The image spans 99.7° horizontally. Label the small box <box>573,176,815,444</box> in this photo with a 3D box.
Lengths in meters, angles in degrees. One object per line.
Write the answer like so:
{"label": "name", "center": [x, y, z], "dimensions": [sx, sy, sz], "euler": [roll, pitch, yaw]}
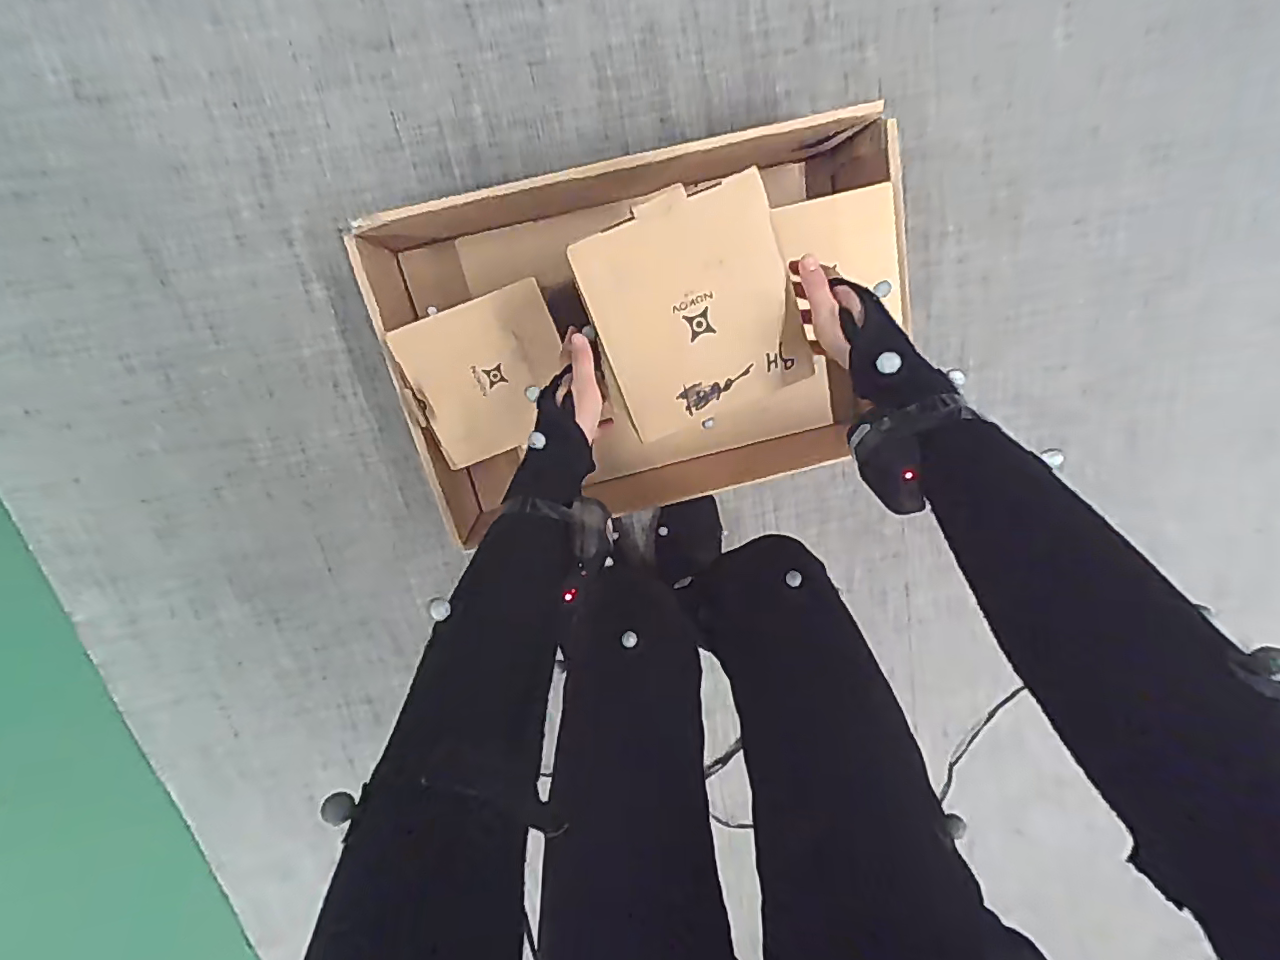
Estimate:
{"label": "small box", "center": [0.041, -0.156, 0.527], "dimensions": [0.168, 0.176, 0.179], "euler": [-22, 107, 0]}
